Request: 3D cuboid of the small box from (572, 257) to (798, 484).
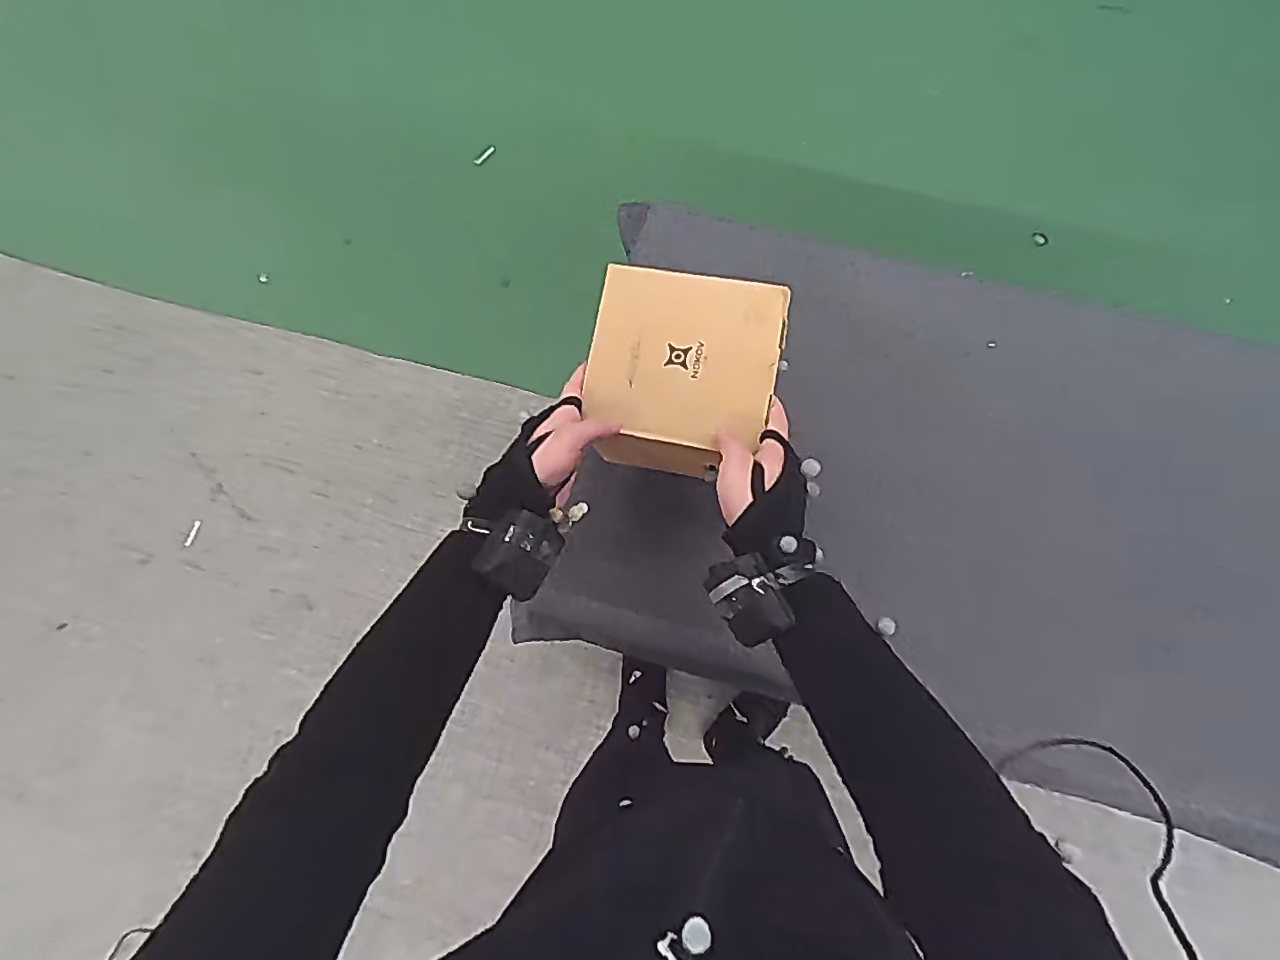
[{"bbox_3d":[0.048,-0.099,0.564,0.179,0.176,0.168,12,81,8],"label":"small box"}]
